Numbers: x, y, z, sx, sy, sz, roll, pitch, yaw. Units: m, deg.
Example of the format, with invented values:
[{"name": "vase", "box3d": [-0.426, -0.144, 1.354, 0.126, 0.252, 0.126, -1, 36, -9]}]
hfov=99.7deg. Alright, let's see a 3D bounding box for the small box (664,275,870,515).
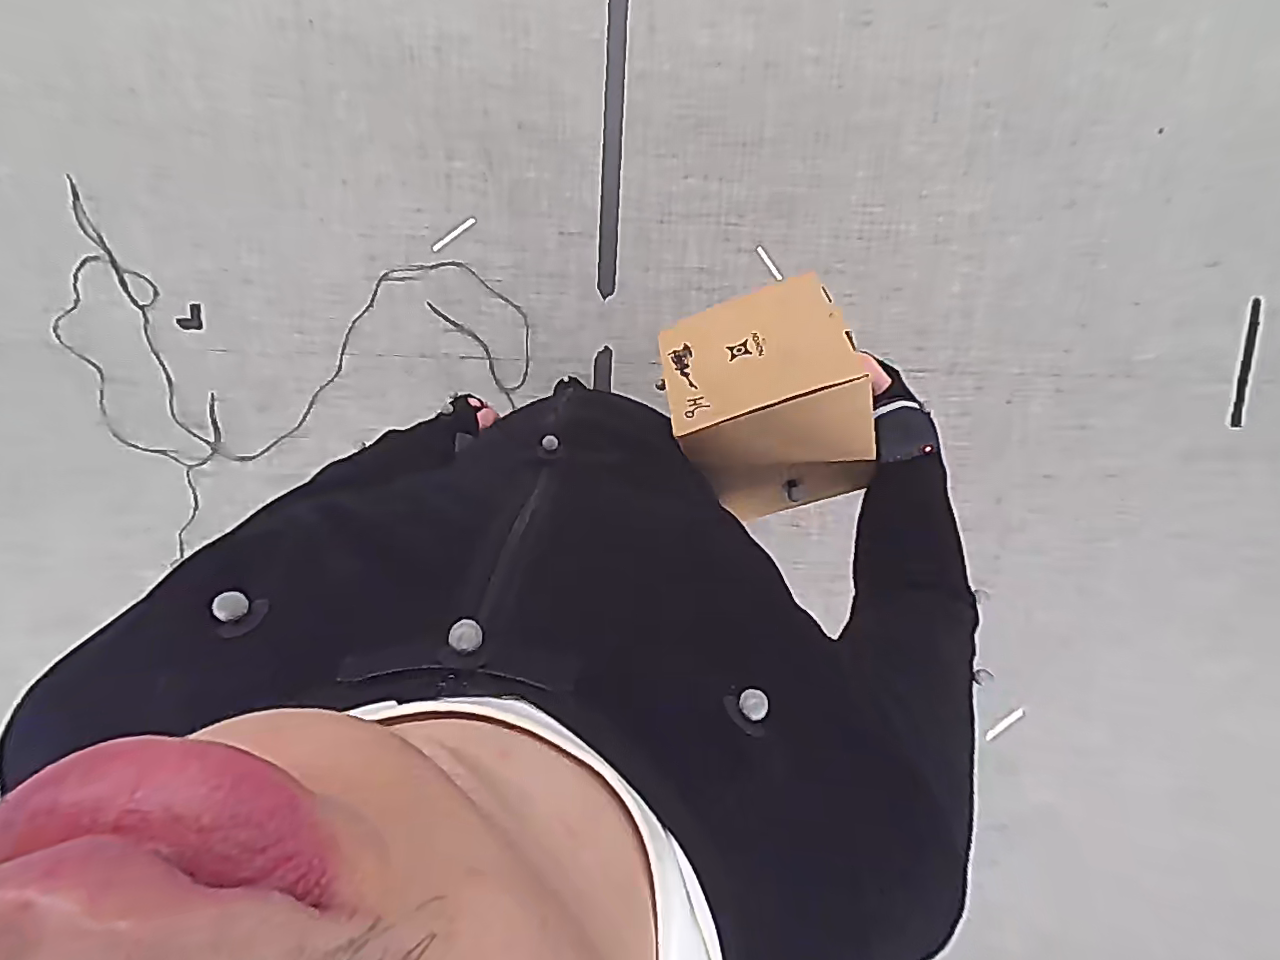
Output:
[{"name": "small box", "box3d": [0.140, -0.085, 0.599, 0.179, 0.168, 0.176, -17, 139, 13]}]
